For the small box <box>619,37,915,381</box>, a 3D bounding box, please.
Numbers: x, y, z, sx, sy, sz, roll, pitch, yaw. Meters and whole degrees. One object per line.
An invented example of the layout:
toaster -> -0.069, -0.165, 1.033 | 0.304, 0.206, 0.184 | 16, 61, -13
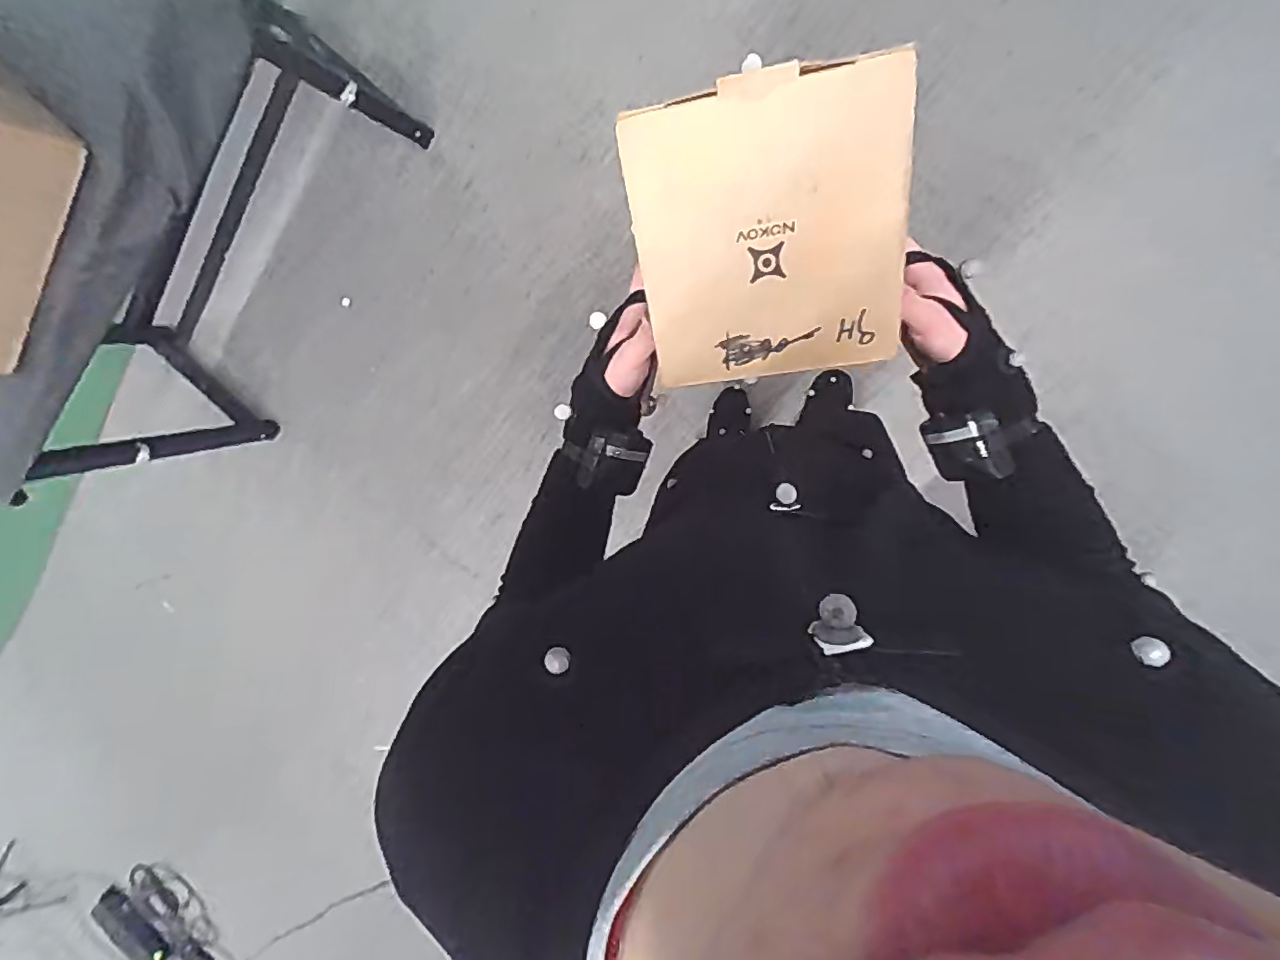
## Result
small box -> 0.090, -0.196, 0.407 | 0.168, 0.176, 0.179 | -5, 124, 13
